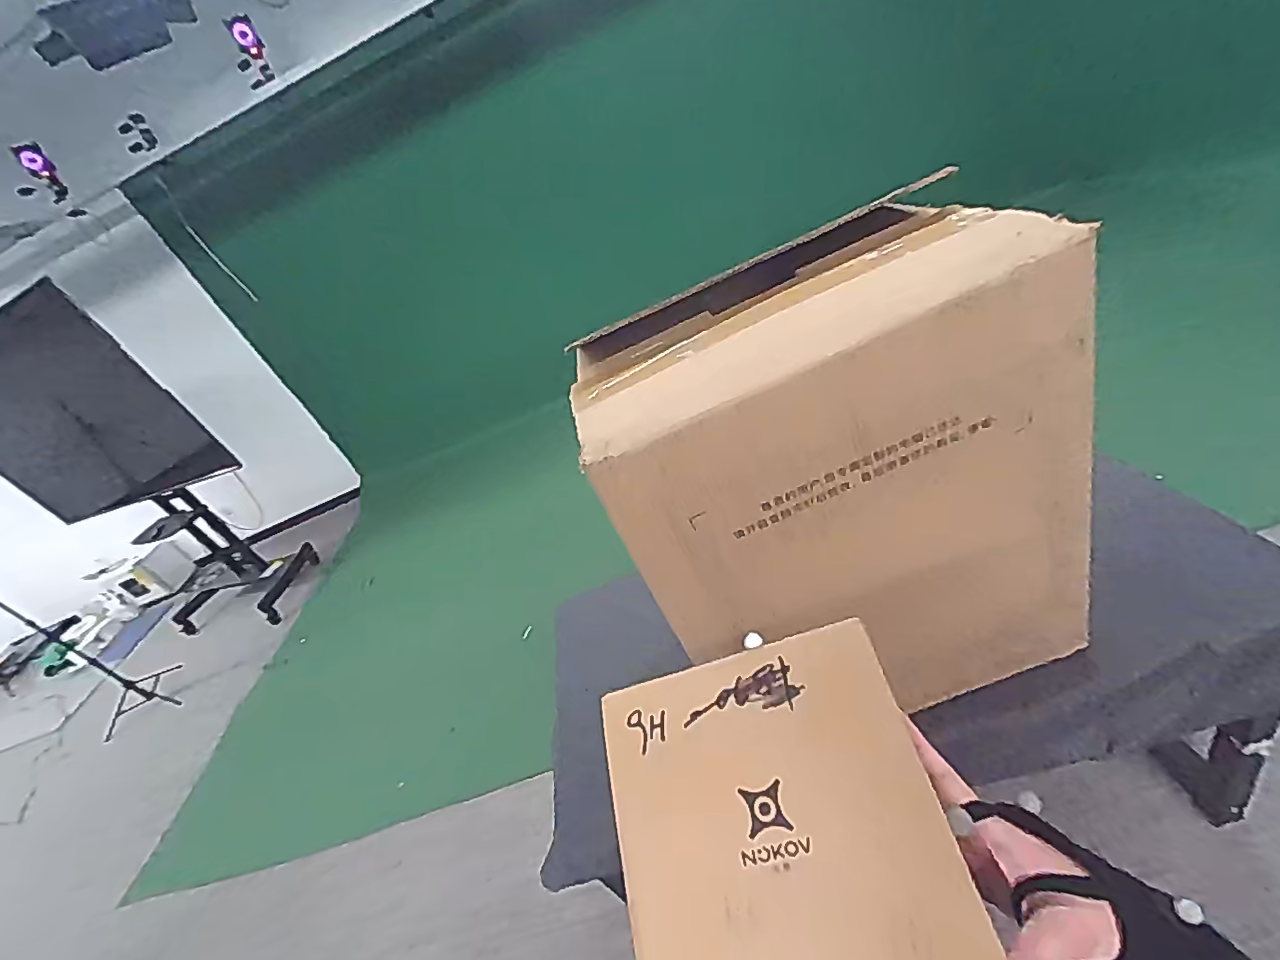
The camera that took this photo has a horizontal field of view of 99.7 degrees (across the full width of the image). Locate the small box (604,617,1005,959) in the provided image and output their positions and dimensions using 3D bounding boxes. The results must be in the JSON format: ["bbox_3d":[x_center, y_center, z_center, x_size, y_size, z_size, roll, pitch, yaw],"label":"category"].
[{"bbox_3d":[0.097,0.210,0.343,0.168,0.176,0.179,-22,56,12],"label":"small box"}]
